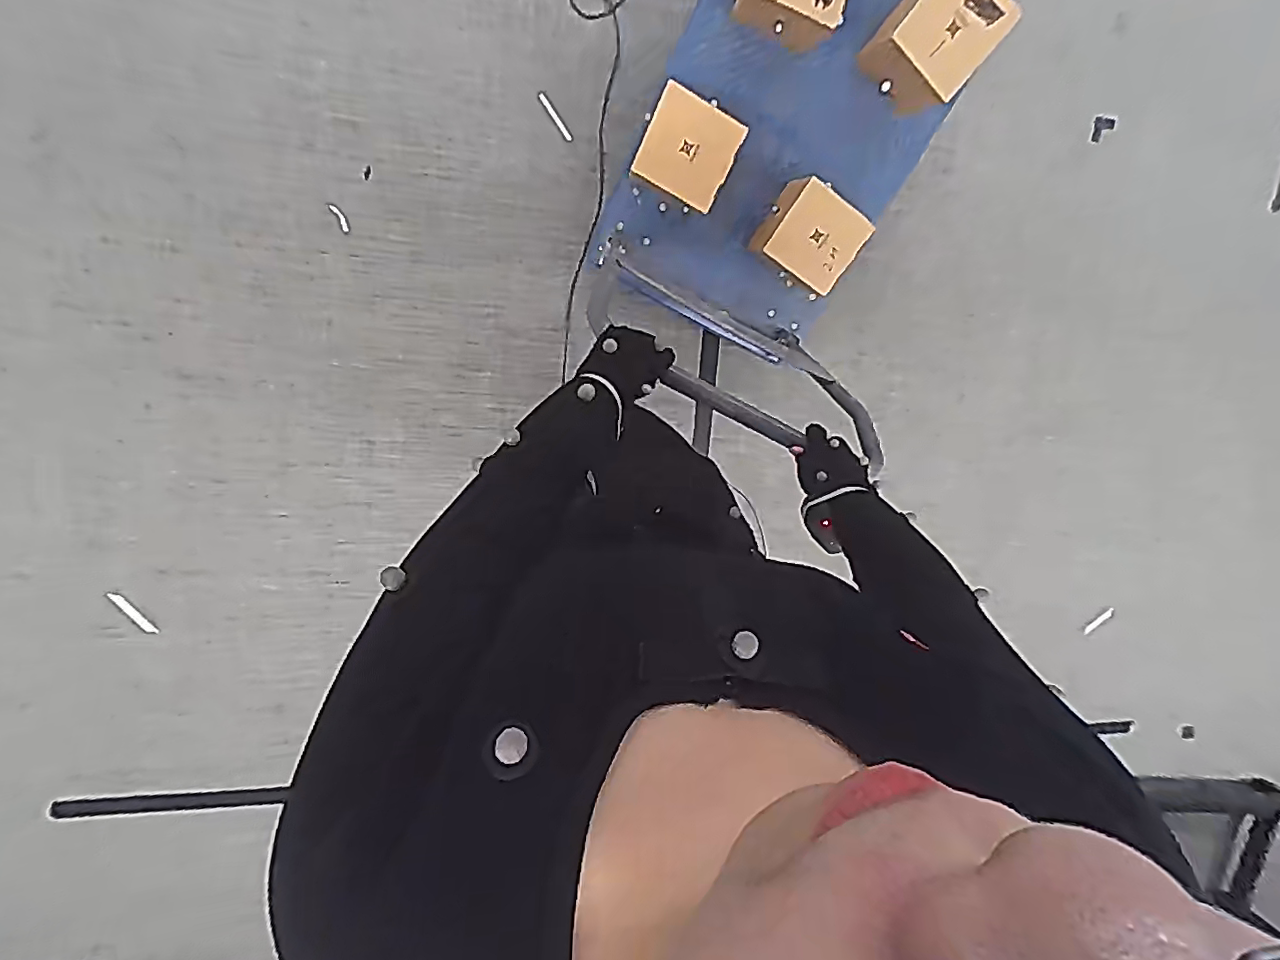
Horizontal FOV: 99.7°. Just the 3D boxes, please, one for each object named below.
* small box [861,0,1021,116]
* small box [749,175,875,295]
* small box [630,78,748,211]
[{"bbox_3d":[0.567,-0.851,1.043,0.168,0.176,0.179,36,110,-17],"label":"small box"},{"bbox_3d":[0.364,-0.532,1.185,0.179,0.176,0.168,30,111,-15],"label":"small box"},{"bbox_3d":[0.089,-0.671,1.107,0.179,0.176,0.168,23,112,-15],"label":"small box"}]
